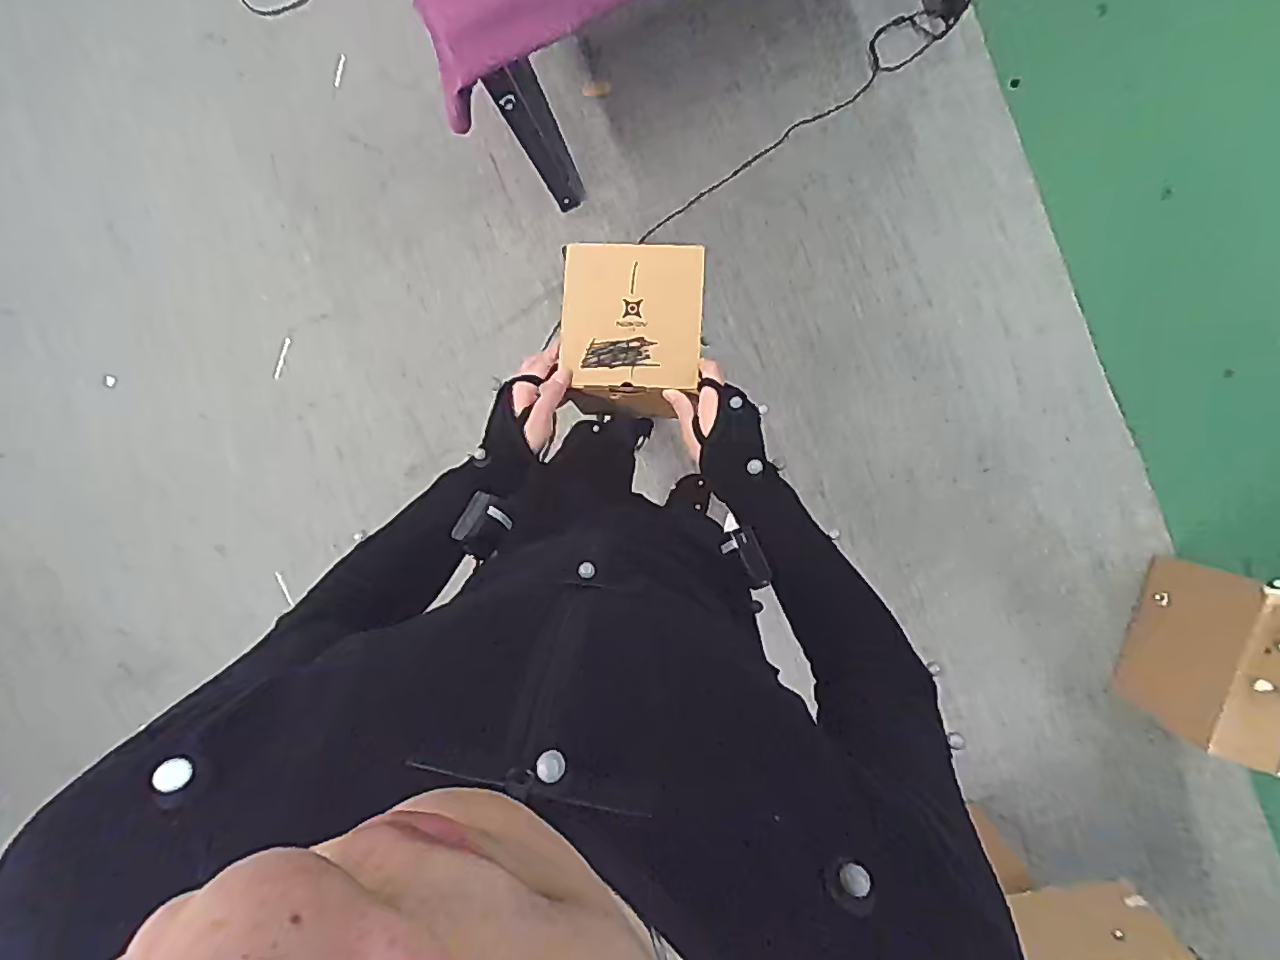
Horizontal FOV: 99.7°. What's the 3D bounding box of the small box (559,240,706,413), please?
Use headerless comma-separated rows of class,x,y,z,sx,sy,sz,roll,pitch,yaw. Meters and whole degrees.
small box,-0.002,-0.187,0.703,0.168,0.176,0.179,2,85,4

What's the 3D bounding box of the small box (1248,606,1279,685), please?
small box,1.420,0.368,1.087,0.179,0.176,0.168,14,96,6
